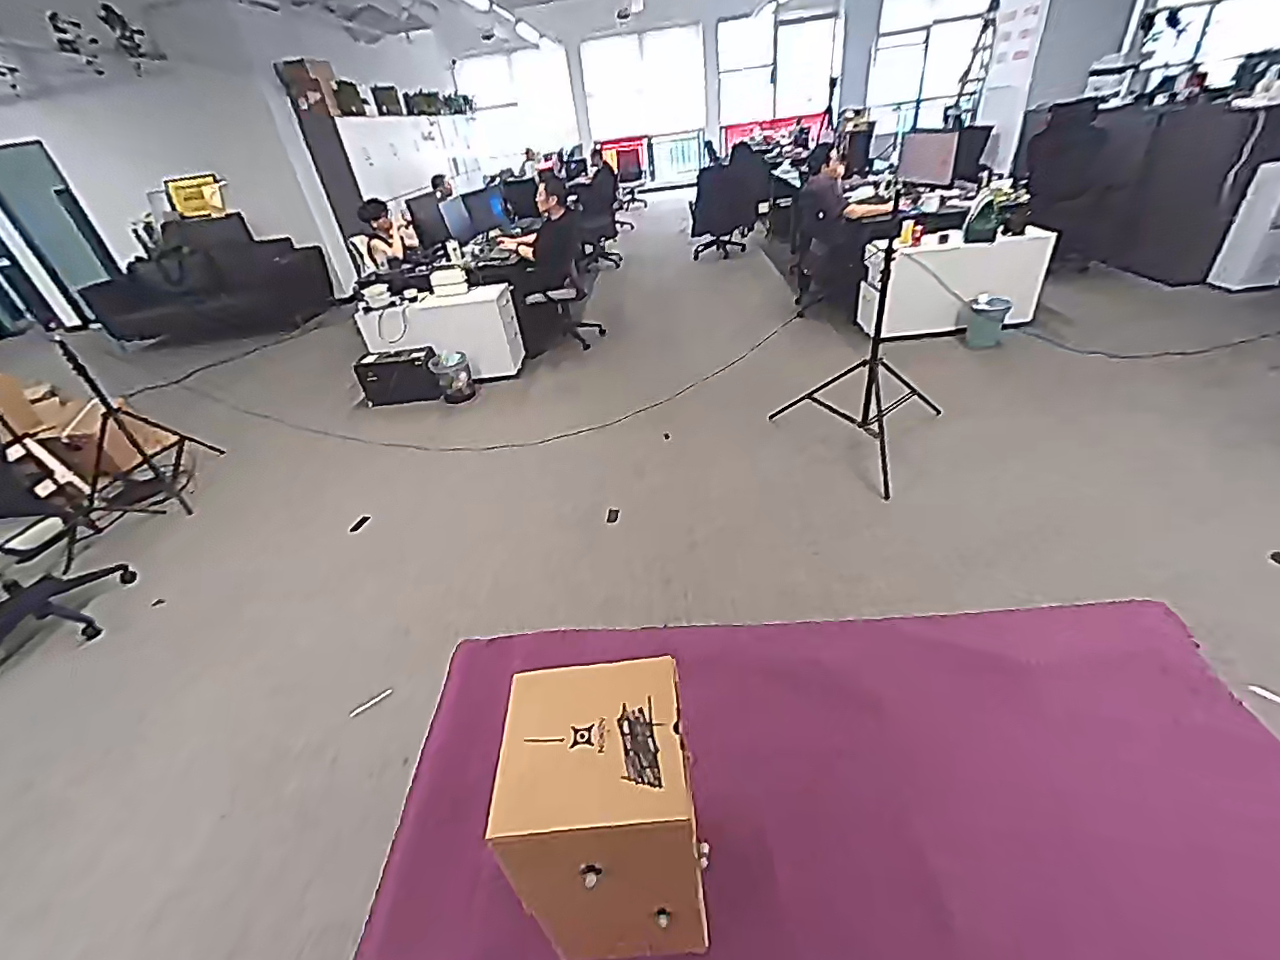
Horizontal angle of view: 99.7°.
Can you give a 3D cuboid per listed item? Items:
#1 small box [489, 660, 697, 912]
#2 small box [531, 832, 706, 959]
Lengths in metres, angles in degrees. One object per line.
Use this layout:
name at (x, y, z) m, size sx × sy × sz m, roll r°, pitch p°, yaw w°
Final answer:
small box at (-0.036, 0.314, 0.560) m, size 0.179 × 0.176 × 0.168 m, roll -7°, pitch 33°, yaw 1°
small box at (-0.020, 0.448, 0.655) m, size 0.179 × 0.176 × 0.168 m, roll -6°, pitch 34°, yaw 1°
